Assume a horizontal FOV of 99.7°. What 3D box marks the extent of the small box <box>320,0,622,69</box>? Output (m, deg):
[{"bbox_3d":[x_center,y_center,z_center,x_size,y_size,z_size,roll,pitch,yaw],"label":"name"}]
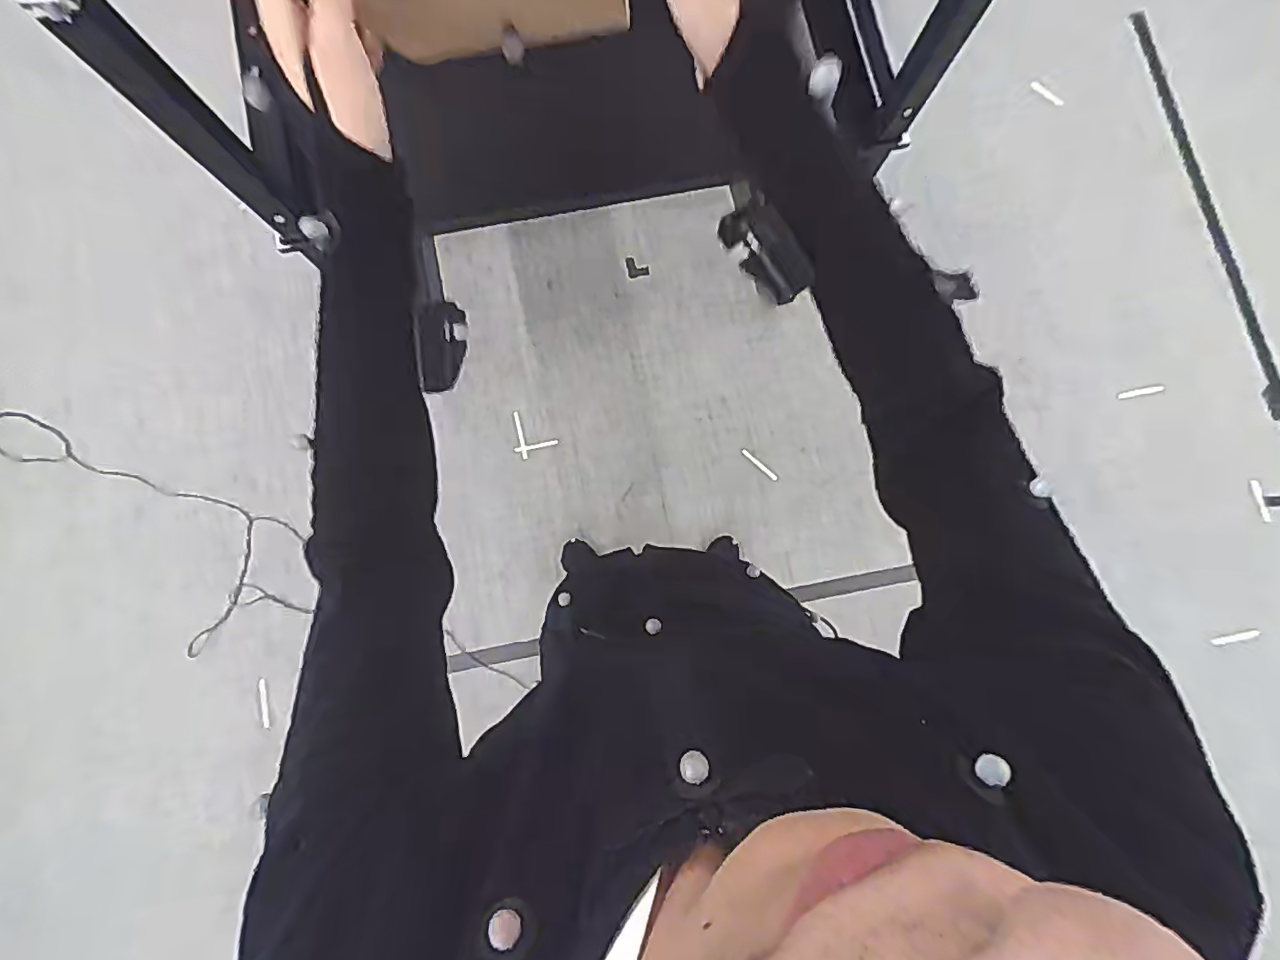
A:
[{"bbox_3d":[-0.105,-0.380,0.330,0.179,0.176,0.168,-6,114,4],"label":"small box"}]
